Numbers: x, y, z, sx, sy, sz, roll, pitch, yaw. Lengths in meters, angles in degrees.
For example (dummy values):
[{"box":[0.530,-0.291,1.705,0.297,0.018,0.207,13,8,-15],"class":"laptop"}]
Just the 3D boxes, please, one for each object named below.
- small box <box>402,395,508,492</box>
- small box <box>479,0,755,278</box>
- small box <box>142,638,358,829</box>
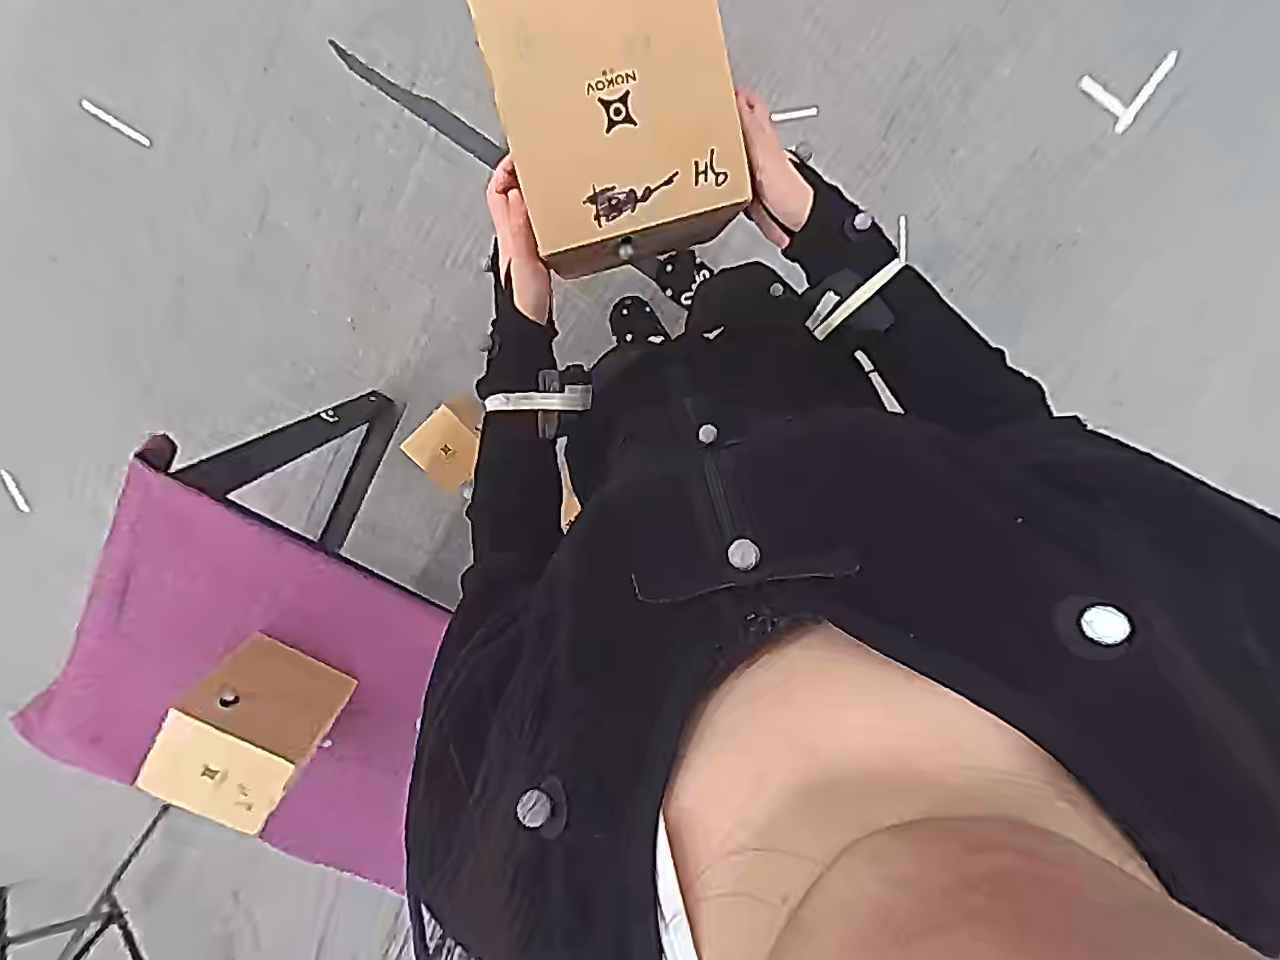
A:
[{"box":[-0.476,-0.105,1.419,0.168,0.176,0.179,-39,107,12],"class":"small box"},{"box":[-0.017,-0.286,0.455,0.168,0.176,0.179,-14,104,1],"class":"small box"},{"box":[-0.572,0.369,0.814,0.179,0.176,0.168,32,108,-11],"class":"small box"}]
